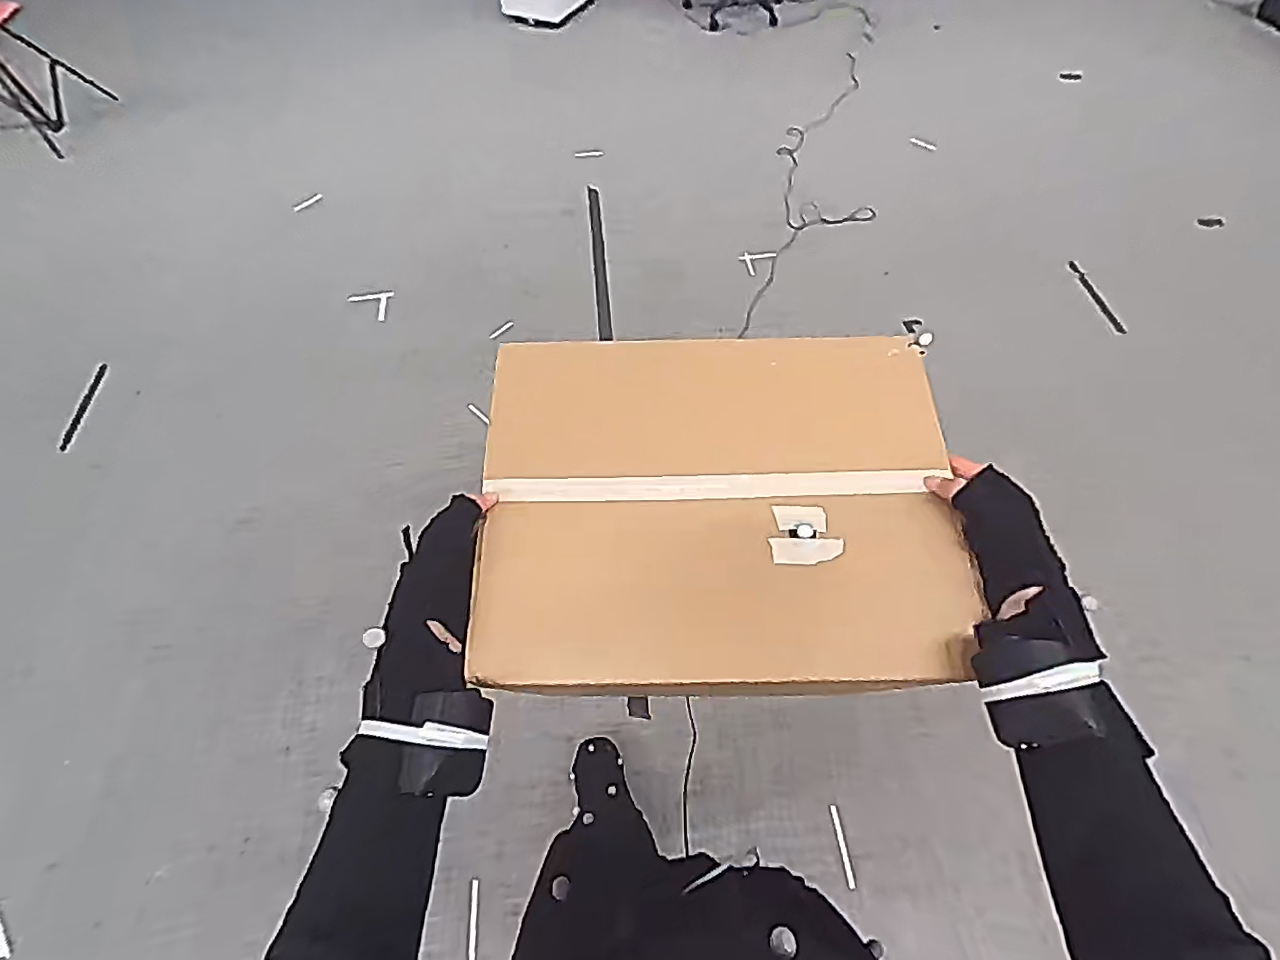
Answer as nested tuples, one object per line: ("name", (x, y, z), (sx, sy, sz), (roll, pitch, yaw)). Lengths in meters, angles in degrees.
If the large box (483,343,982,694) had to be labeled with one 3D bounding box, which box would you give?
("large box", (0.068, 0.067, 0.617), (0.408, 0.320, 0.320), (-1, 68, 0))
